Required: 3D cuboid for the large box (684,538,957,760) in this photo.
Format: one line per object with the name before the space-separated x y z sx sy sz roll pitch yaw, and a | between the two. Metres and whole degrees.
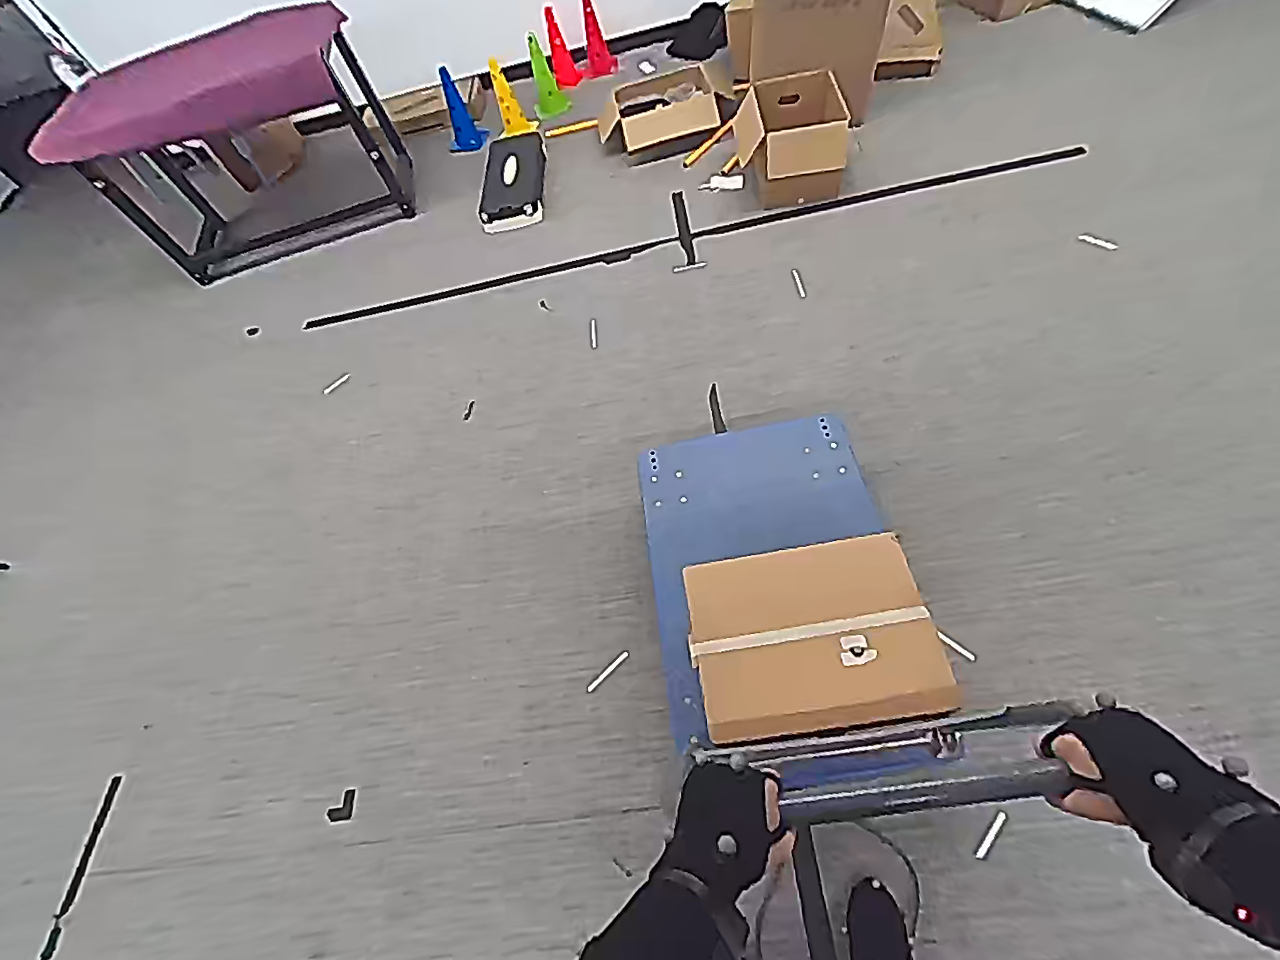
large box | 0.319 0.351 1.082 0.408 0.320 0.320 -11 59 4
